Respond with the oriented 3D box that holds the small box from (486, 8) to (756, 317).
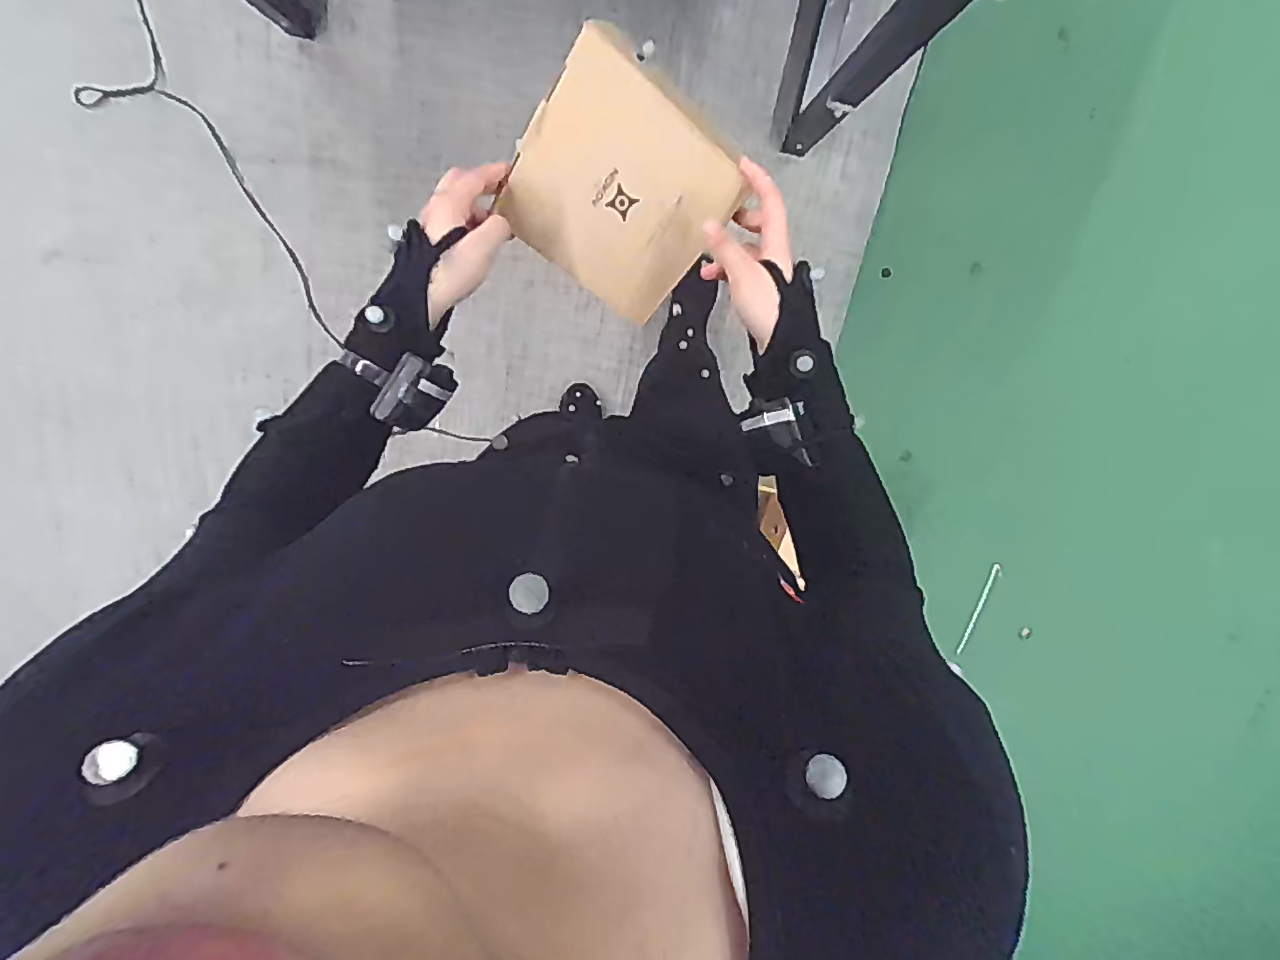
[{"bbox_3d":[-0.016,-0.298,0.518,0.179,0.176,0.168,30,127,-21],"label":"small box"}]
